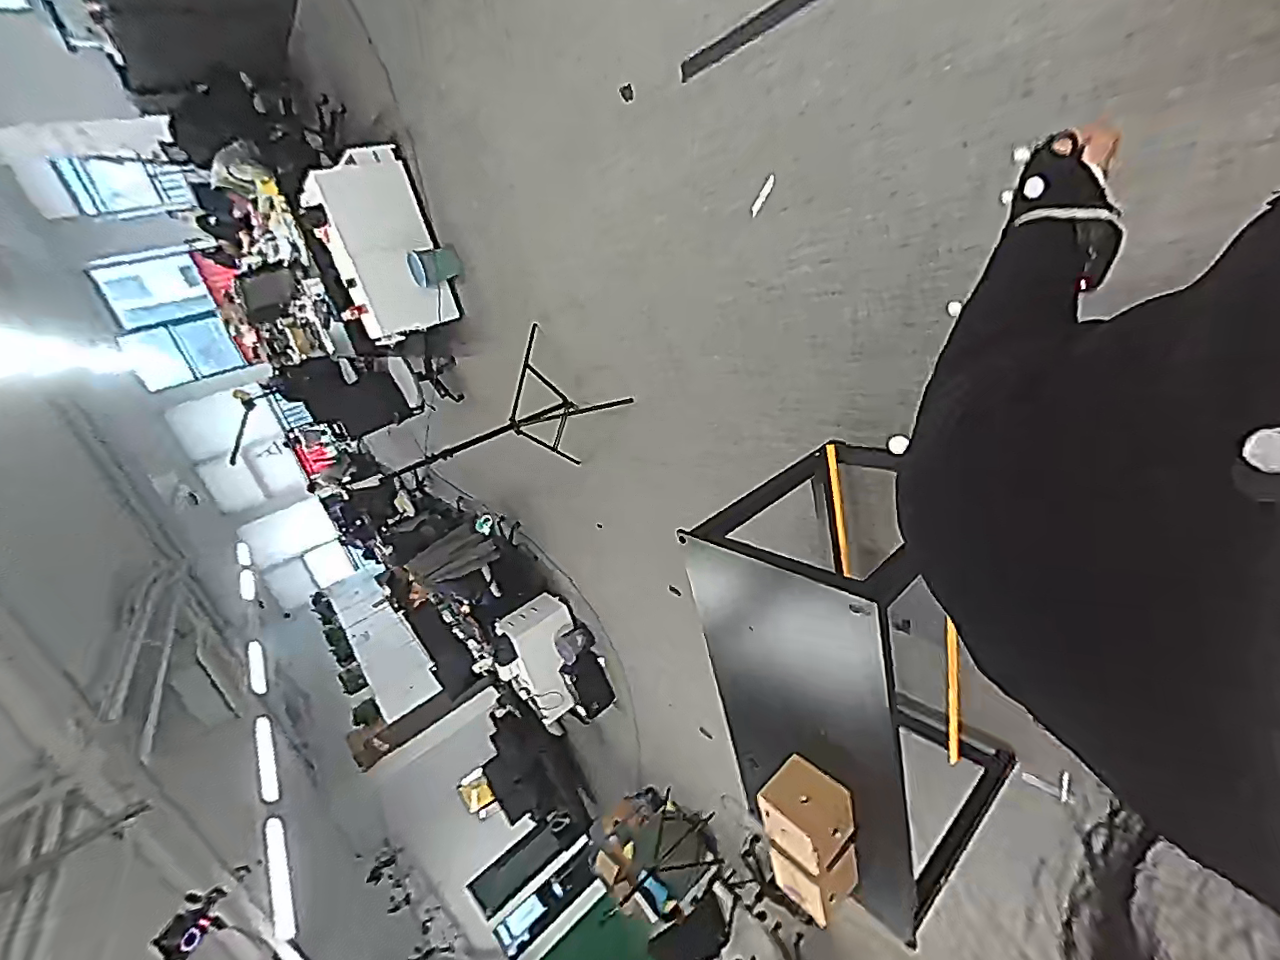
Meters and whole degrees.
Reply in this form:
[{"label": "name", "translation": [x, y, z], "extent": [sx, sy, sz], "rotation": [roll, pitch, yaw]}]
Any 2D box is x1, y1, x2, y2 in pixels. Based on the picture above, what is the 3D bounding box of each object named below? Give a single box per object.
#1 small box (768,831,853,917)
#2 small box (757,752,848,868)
[{"label": "small box", "translation": [0.500, 1.095, 1.573], "extent": [0.168, 0.176, 0.179], "rotation": [16, 127, 51]}, {"label": "small box", "translation": [0.450, 0.890, 1.478], "extent": [0.179, 0.176, 0.168], "rotation": [16, 127, 51]}]
